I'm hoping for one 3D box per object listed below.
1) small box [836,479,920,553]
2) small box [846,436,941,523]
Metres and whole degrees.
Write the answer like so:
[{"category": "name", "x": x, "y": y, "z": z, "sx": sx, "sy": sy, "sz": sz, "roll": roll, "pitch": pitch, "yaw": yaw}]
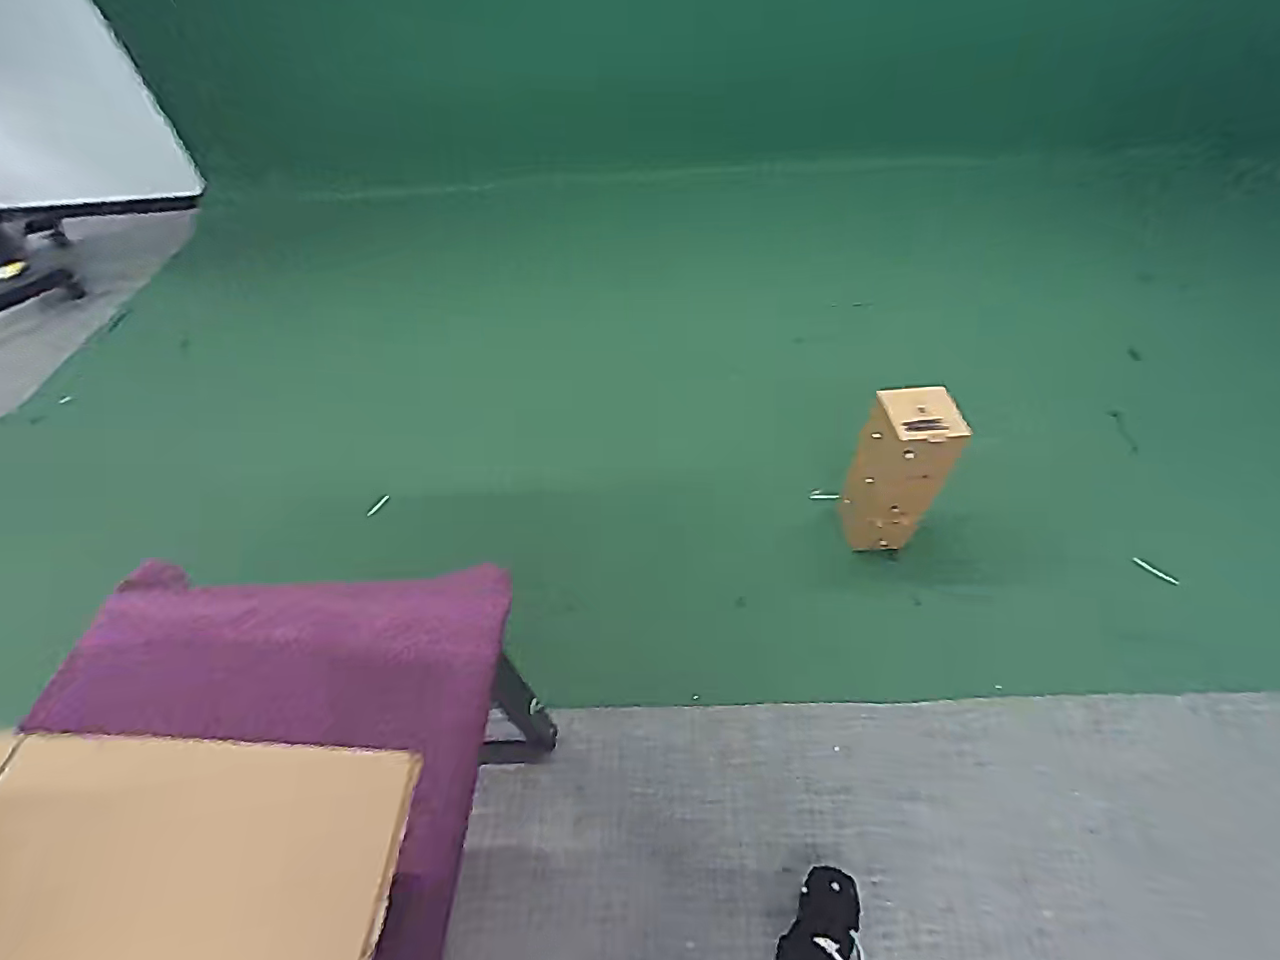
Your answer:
[{"category": "small box", "x": 0.708, "y": 0.103, "z": 1.636, "sx": 0.168, "sy": 0.176, "sz": 0.179, "roll": -4, "pitch": 51, "yaw": 2}, {"category": "small box", "x": 0.697, "y": 0.000, "z": 1.510, "sx": 0.168, "sy": 0.176, "sz": 0.179, "roll": -5, "pitch": 52, "yaw": 0}]
